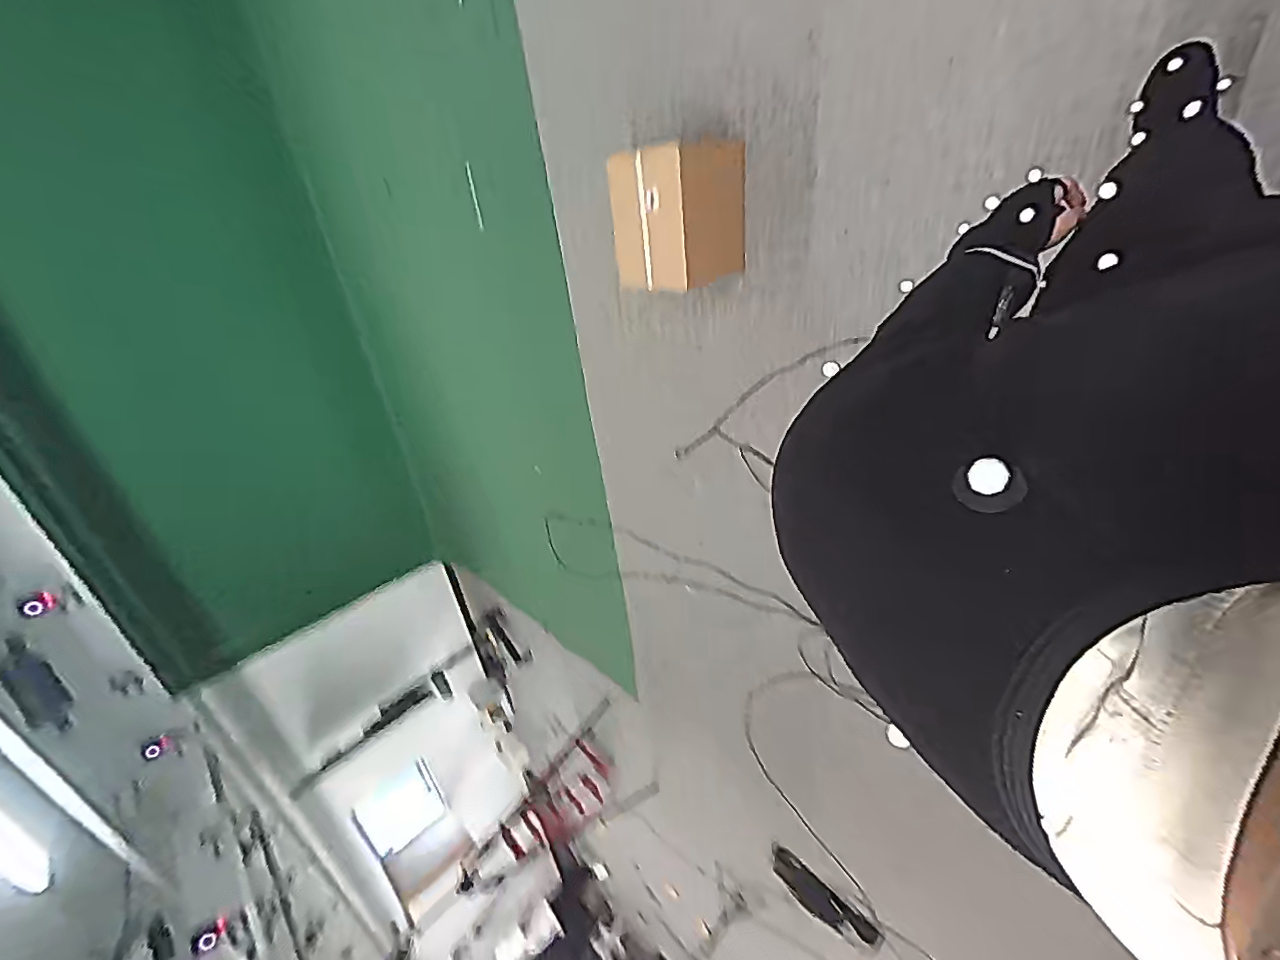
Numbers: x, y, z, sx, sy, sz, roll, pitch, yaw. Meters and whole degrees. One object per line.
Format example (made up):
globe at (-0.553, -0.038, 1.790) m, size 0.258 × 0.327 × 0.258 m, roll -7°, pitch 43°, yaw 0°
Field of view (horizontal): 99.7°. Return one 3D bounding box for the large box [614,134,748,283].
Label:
large box at (0.145, -0.888, 1.788) m, size 0.320 × 0.320 × 0.408 m, roll 22°, pitch 129°, yaw 41°
